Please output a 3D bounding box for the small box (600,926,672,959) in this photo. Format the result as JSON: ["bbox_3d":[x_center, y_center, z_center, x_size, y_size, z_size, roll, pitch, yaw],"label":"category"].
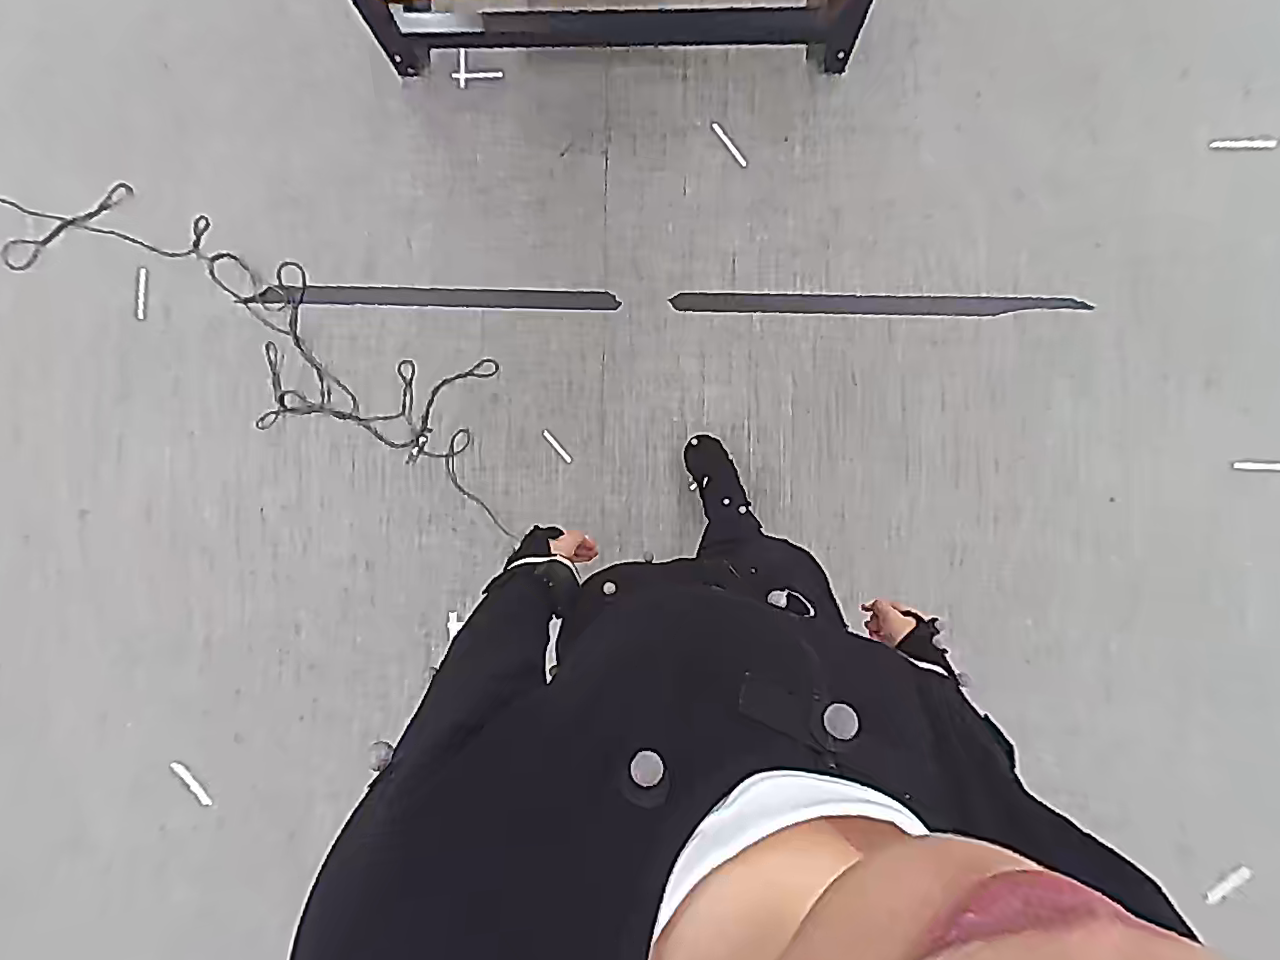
[{"bbox_3d":[-0.007,1.158,1.297,0.168,0.176,0.179,-1,89,2],"label":"small box"}]
